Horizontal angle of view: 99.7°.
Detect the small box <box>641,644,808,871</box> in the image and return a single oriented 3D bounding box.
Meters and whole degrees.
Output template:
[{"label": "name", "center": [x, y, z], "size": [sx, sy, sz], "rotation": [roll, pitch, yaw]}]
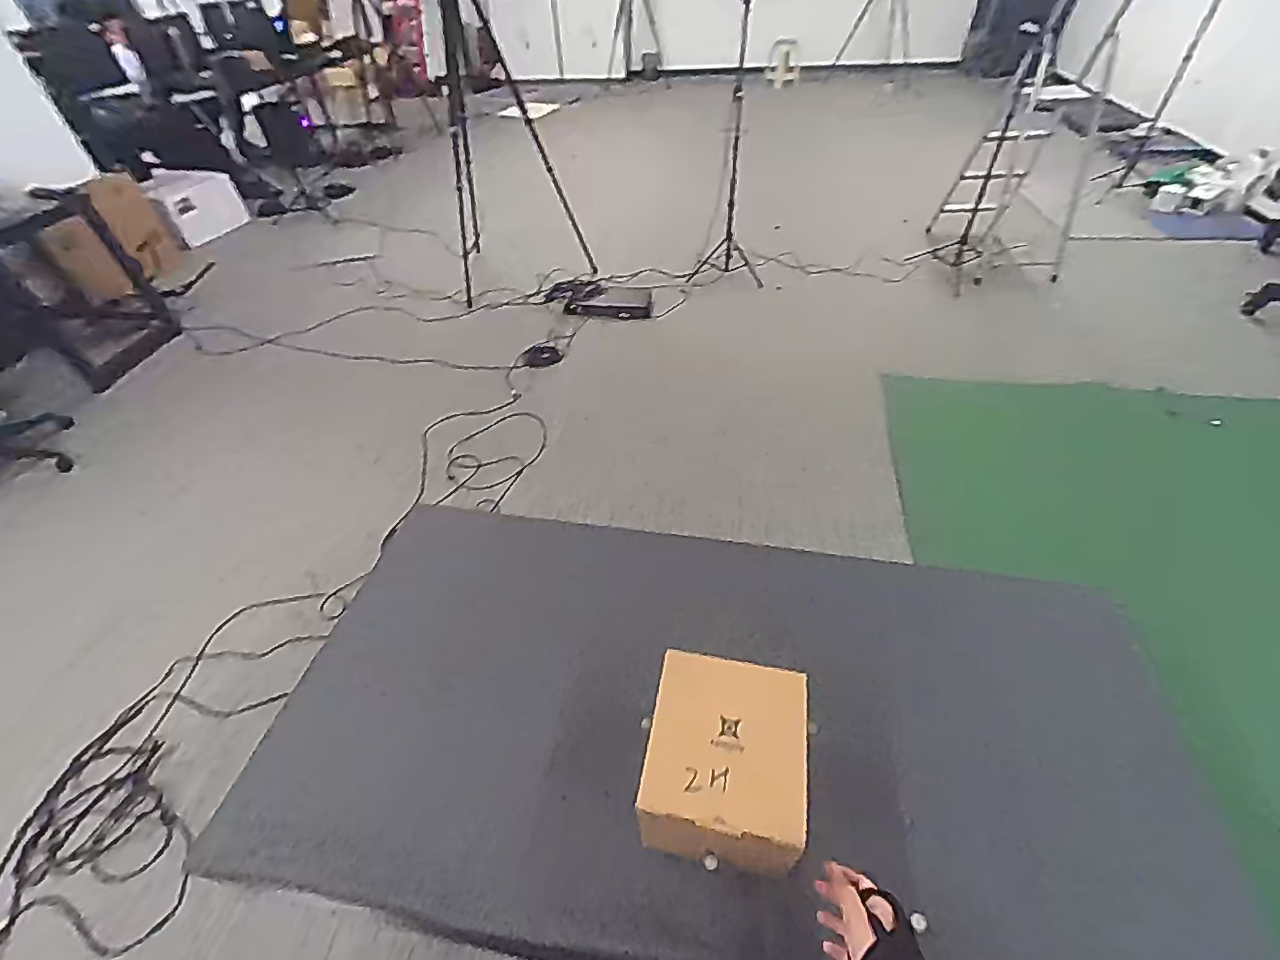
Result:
[{"label": "small box", "center": [0.099, 0.324, 0.635], "size": [0.168, 0.176, 0.179], "rotation": [6, 46, 10]}]
